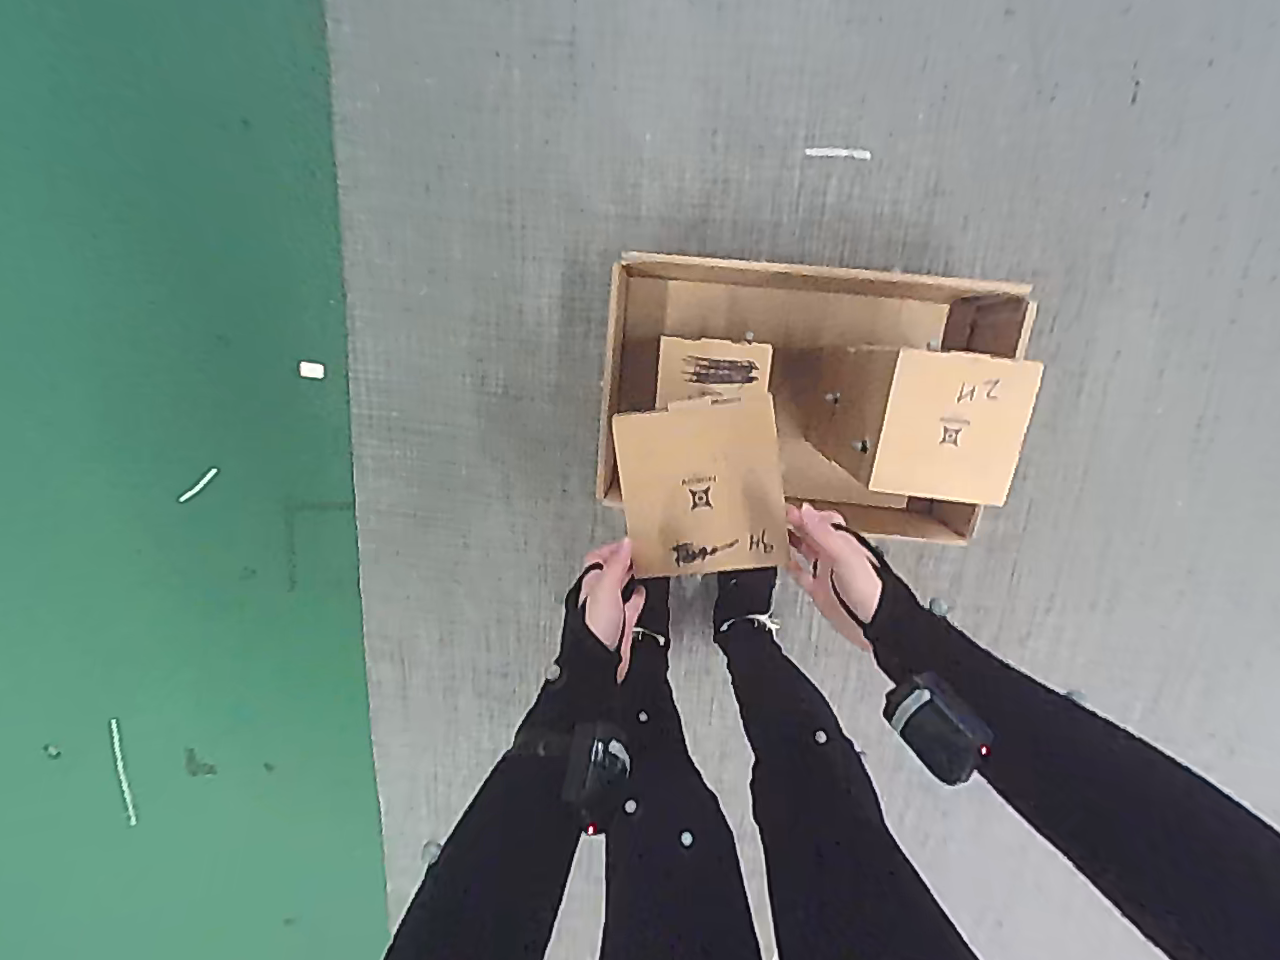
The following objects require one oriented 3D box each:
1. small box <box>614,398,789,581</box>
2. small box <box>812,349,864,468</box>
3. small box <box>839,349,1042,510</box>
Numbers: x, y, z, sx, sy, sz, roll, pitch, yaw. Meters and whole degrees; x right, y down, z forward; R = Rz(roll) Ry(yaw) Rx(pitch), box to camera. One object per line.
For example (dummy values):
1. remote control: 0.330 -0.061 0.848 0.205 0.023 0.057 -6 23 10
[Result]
1. small box: 0.073 0.006 0.631 0.168 0.176 0.179 -7 95 10
2. small box: 0.389 -0.115 0.880 0.168 0.176 0.179 7 105 3
3. small box: 0.378 -0.076 0.720 0.168 0.176 0.179 8 105 4
